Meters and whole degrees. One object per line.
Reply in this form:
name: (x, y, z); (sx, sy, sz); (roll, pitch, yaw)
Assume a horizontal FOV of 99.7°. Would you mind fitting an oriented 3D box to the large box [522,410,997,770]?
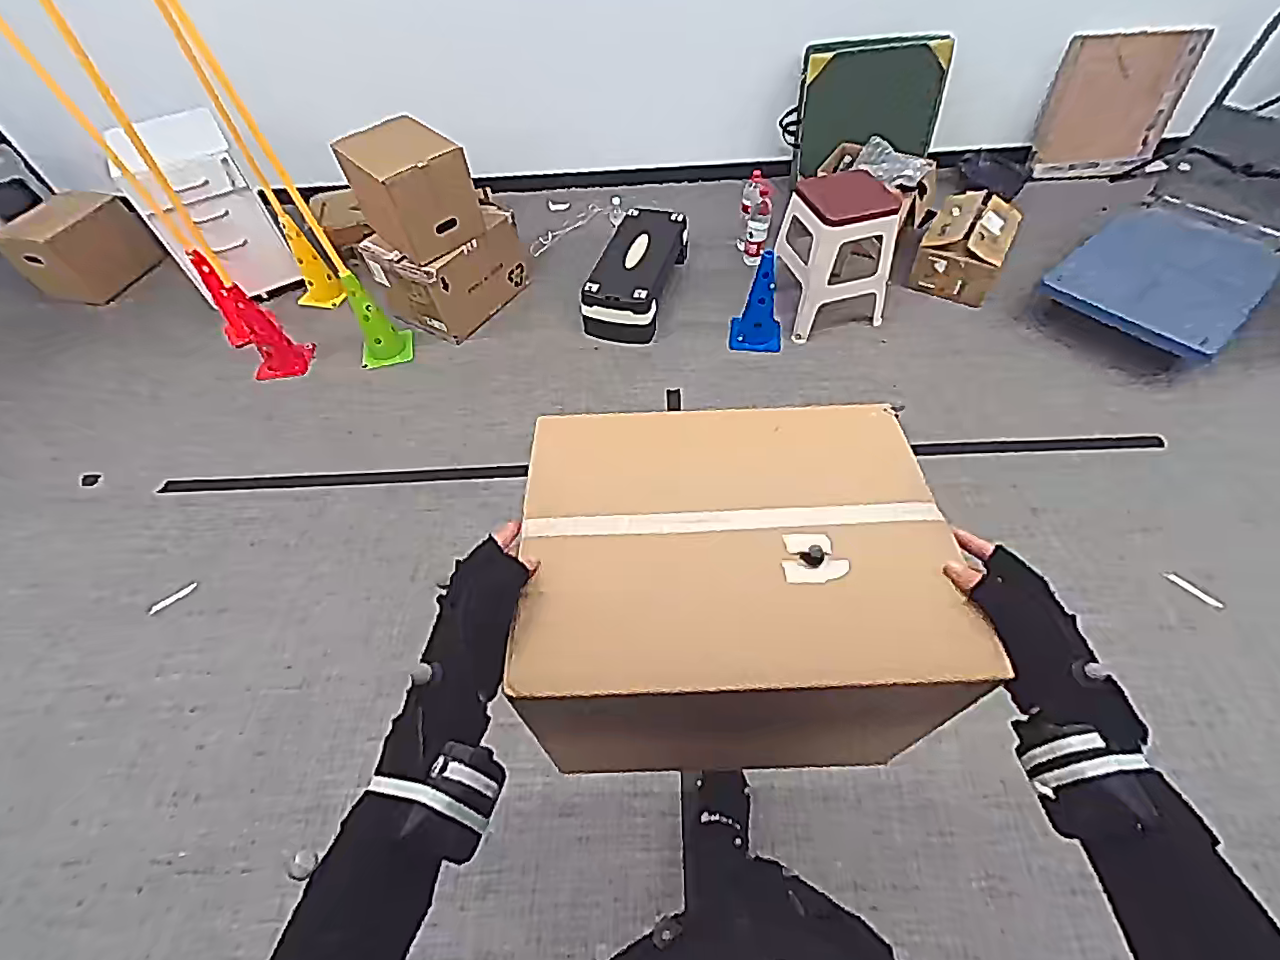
large box: (0.094, 0.138, 0.650); (0.408, 0.320, 0.320); (-2, 52, -1)
